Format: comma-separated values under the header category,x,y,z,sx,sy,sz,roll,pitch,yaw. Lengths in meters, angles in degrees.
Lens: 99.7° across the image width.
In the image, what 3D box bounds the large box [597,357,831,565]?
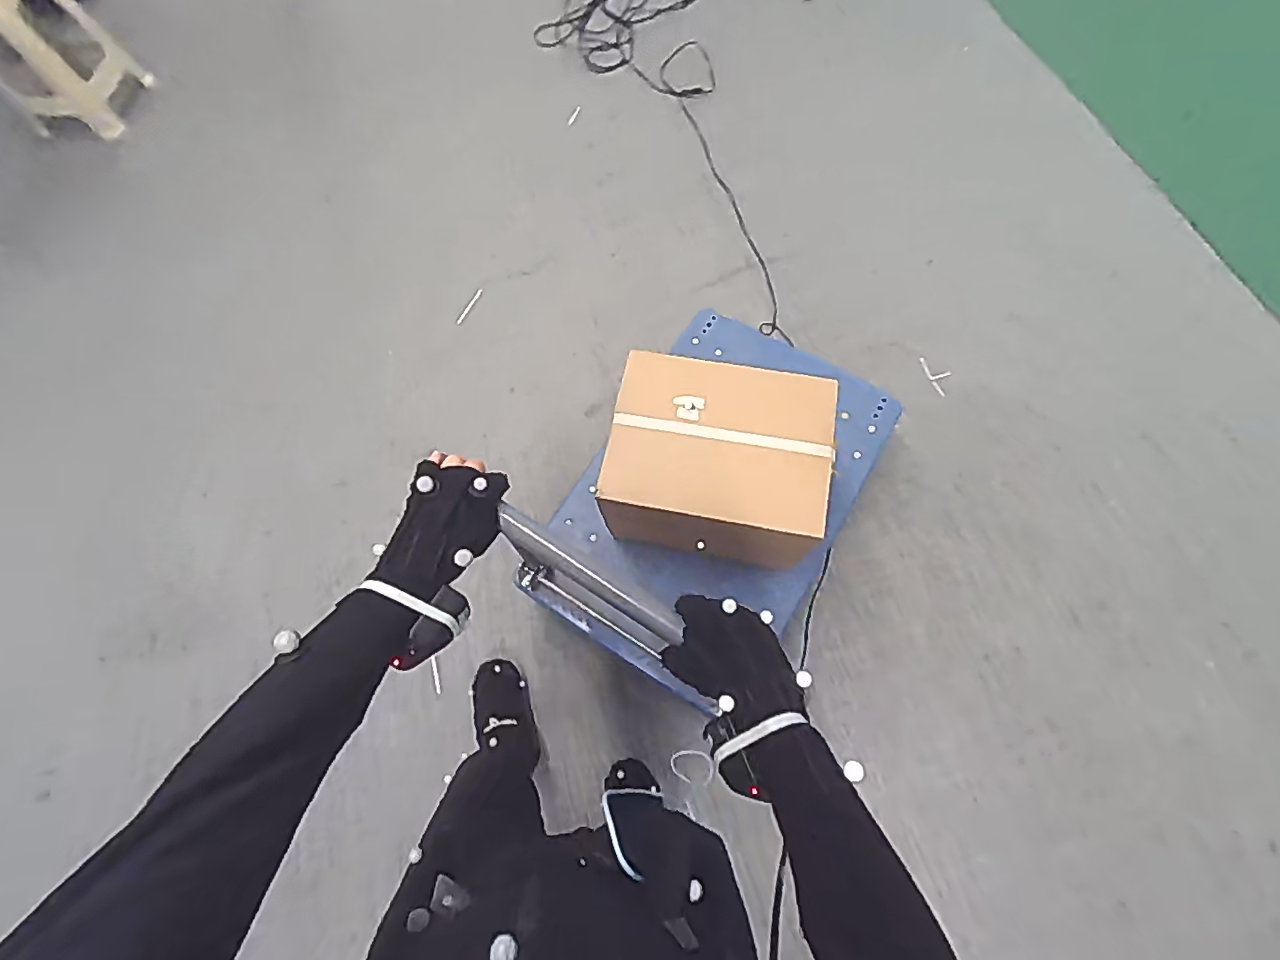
category,x,y,z,sx,sy,sz,roll,pitch,yaw
large box,0.155,-0.025,1.143,0.408,0.320,0.320,10,70,8
